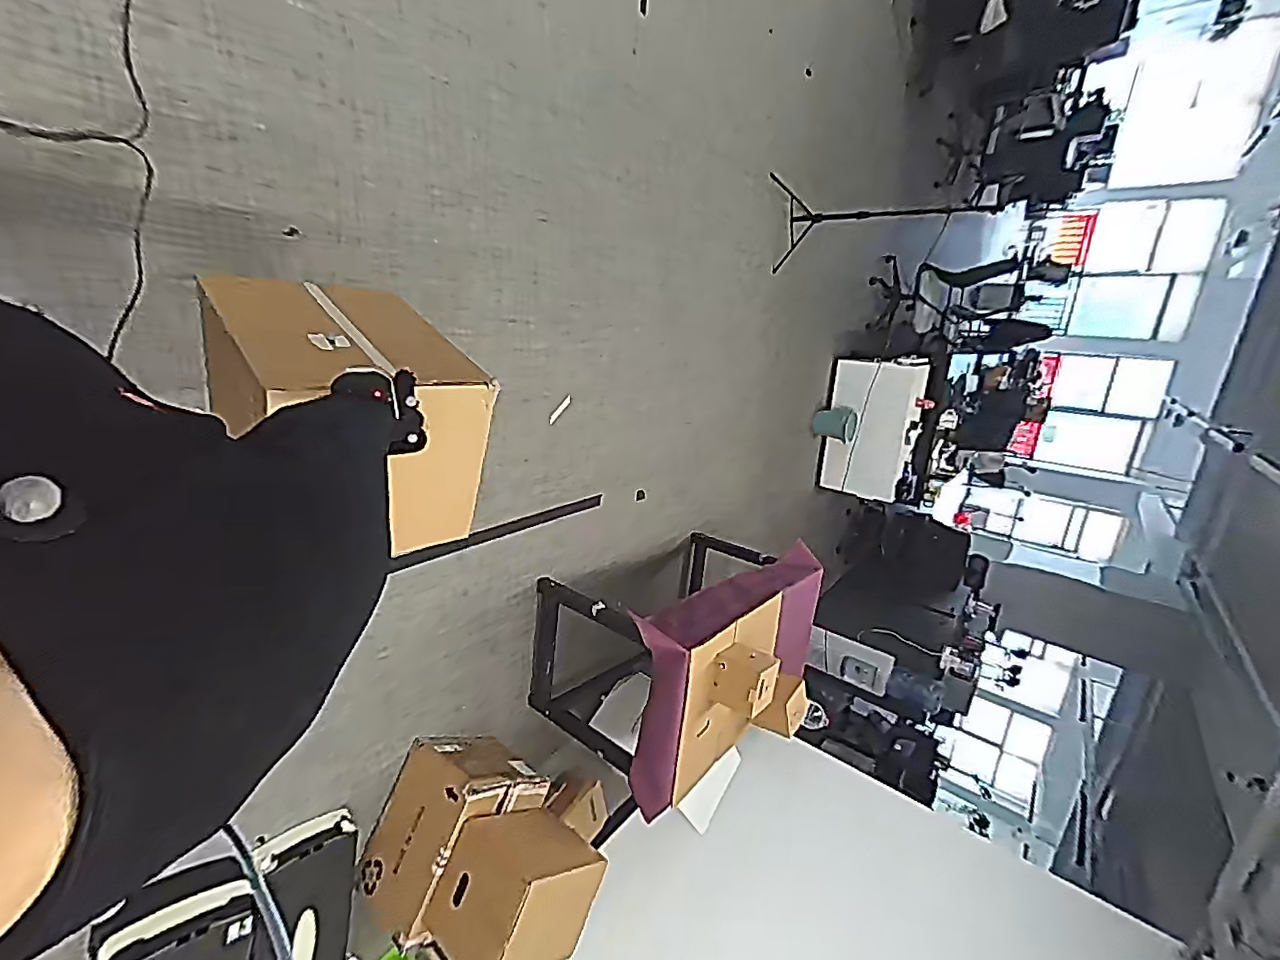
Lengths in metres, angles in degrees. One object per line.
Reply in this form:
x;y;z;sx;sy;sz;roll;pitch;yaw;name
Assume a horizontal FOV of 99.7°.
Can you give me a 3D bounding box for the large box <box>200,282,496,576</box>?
-0.512;-0.106;0.936;0.320;0.408;0.320;-13;134;-44;large box
